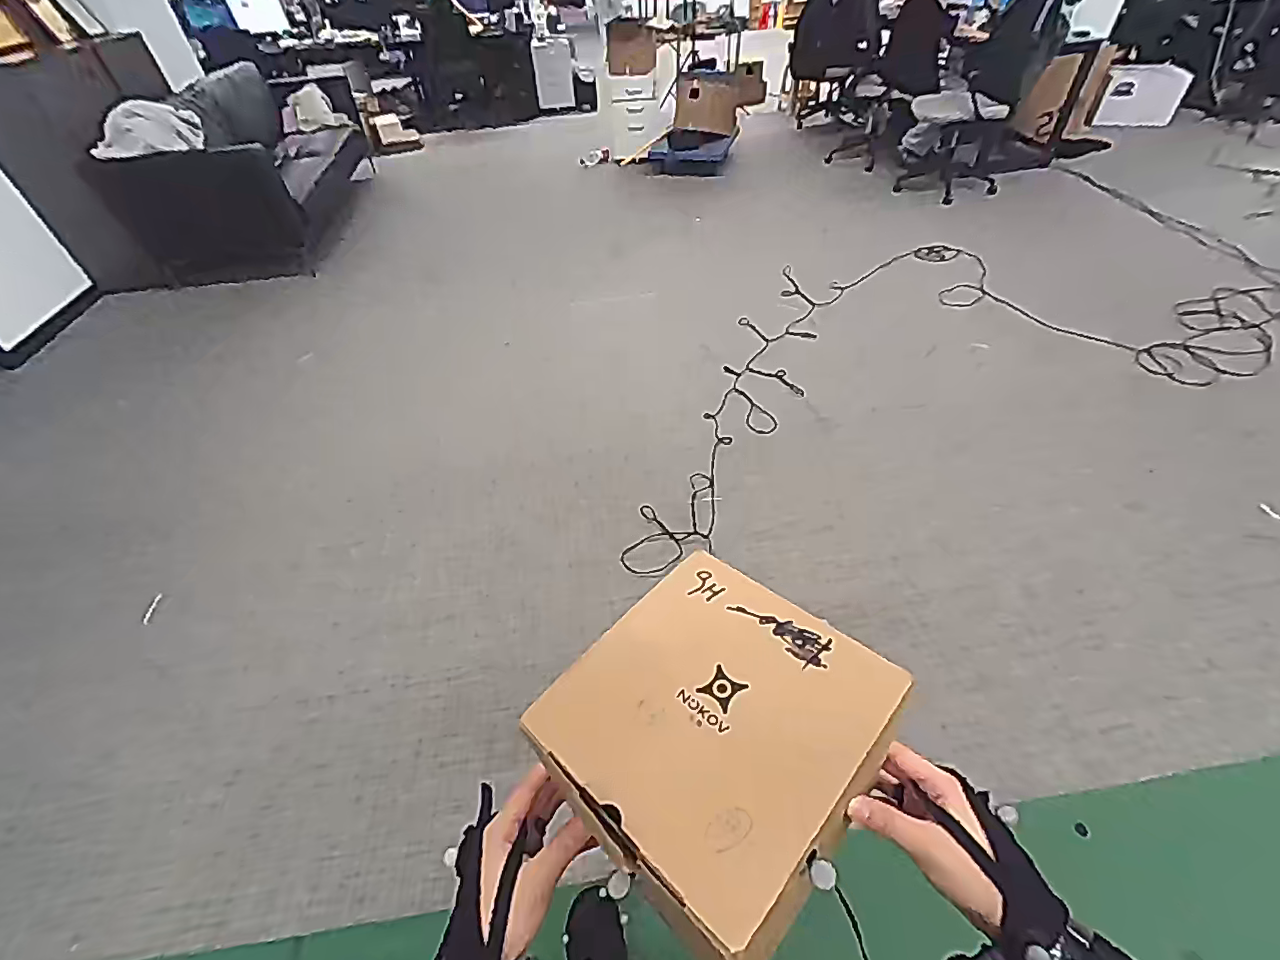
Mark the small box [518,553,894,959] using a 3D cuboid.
[{"bbox_3d":[0.050,0.193,0.380,0.168,0.176,0.179,29,55,36],"label":"small box"}]
